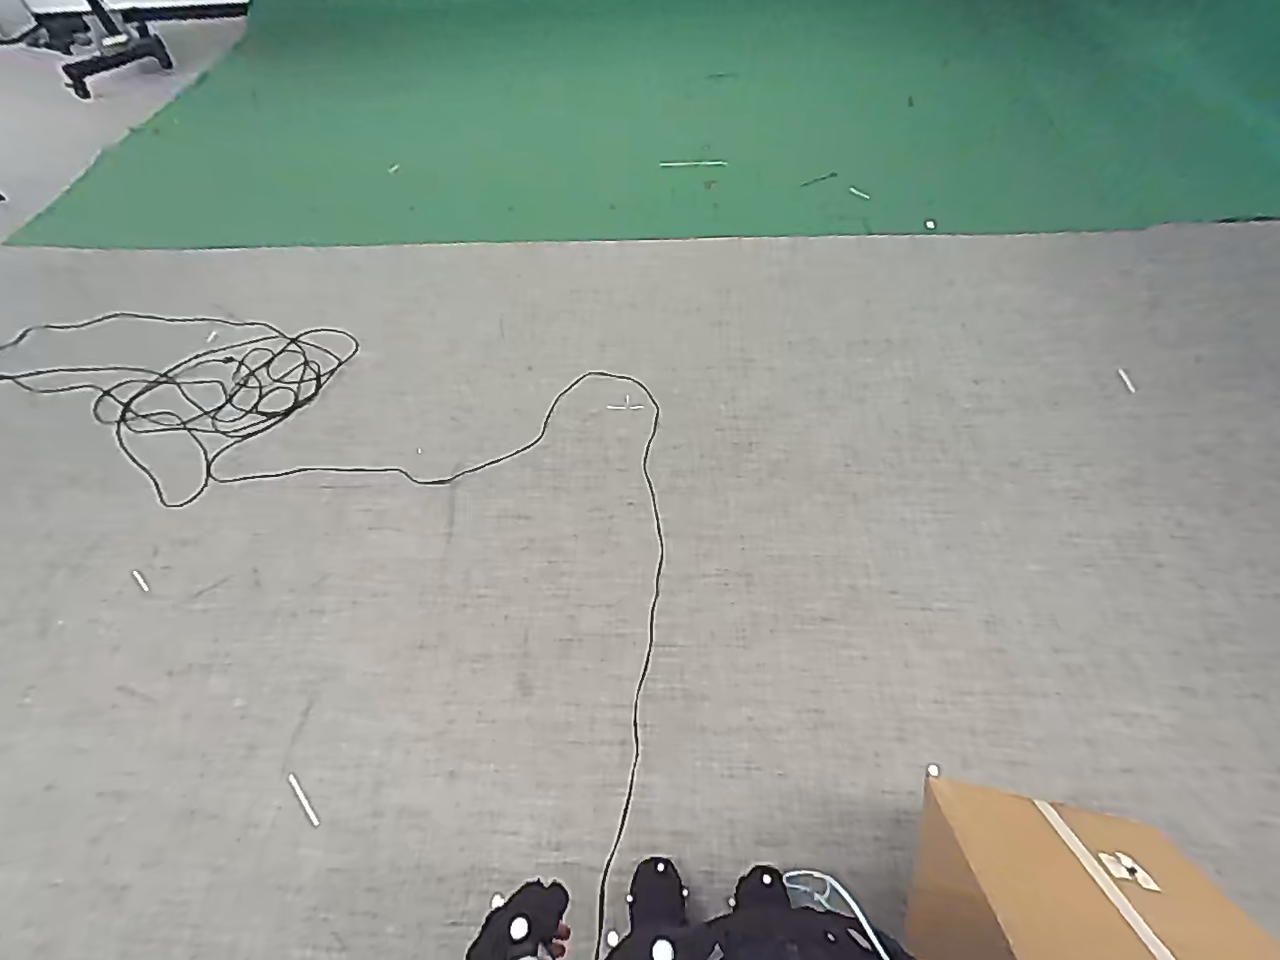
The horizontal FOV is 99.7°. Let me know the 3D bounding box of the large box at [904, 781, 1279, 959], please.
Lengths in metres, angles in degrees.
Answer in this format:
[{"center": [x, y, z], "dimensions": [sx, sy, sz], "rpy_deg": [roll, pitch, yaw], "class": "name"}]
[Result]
[{"center": [0.543, 0.652, 0.645], "dimensions": [0.320, 0.408, 0.320], "rpy_deg": [9, 93, 13], "class": "large box"}]
